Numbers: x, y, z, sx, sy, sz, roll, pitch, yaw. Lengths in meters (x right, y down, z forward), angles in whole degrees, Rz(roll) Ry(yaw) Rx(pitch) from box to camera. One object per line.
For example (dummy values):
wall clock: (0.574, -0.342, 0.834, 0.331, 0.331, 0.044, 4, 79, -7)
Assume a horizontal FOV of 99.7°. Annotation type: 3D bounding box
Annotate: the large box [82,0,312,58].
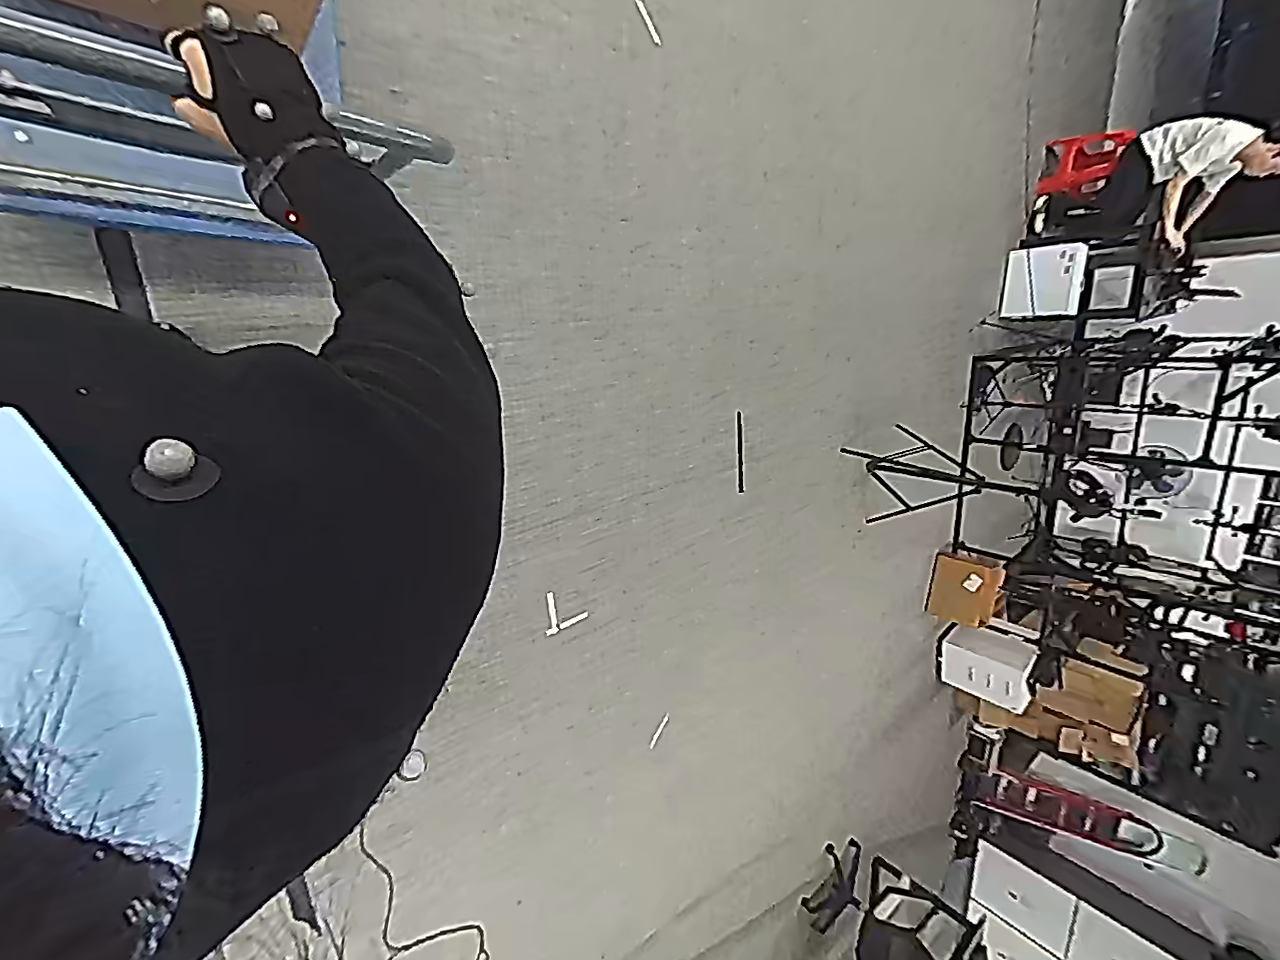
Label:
large box: (-0.725, -0.890, 0.764, 0.408, 0.320, 0.320, -8, 105, -38)
